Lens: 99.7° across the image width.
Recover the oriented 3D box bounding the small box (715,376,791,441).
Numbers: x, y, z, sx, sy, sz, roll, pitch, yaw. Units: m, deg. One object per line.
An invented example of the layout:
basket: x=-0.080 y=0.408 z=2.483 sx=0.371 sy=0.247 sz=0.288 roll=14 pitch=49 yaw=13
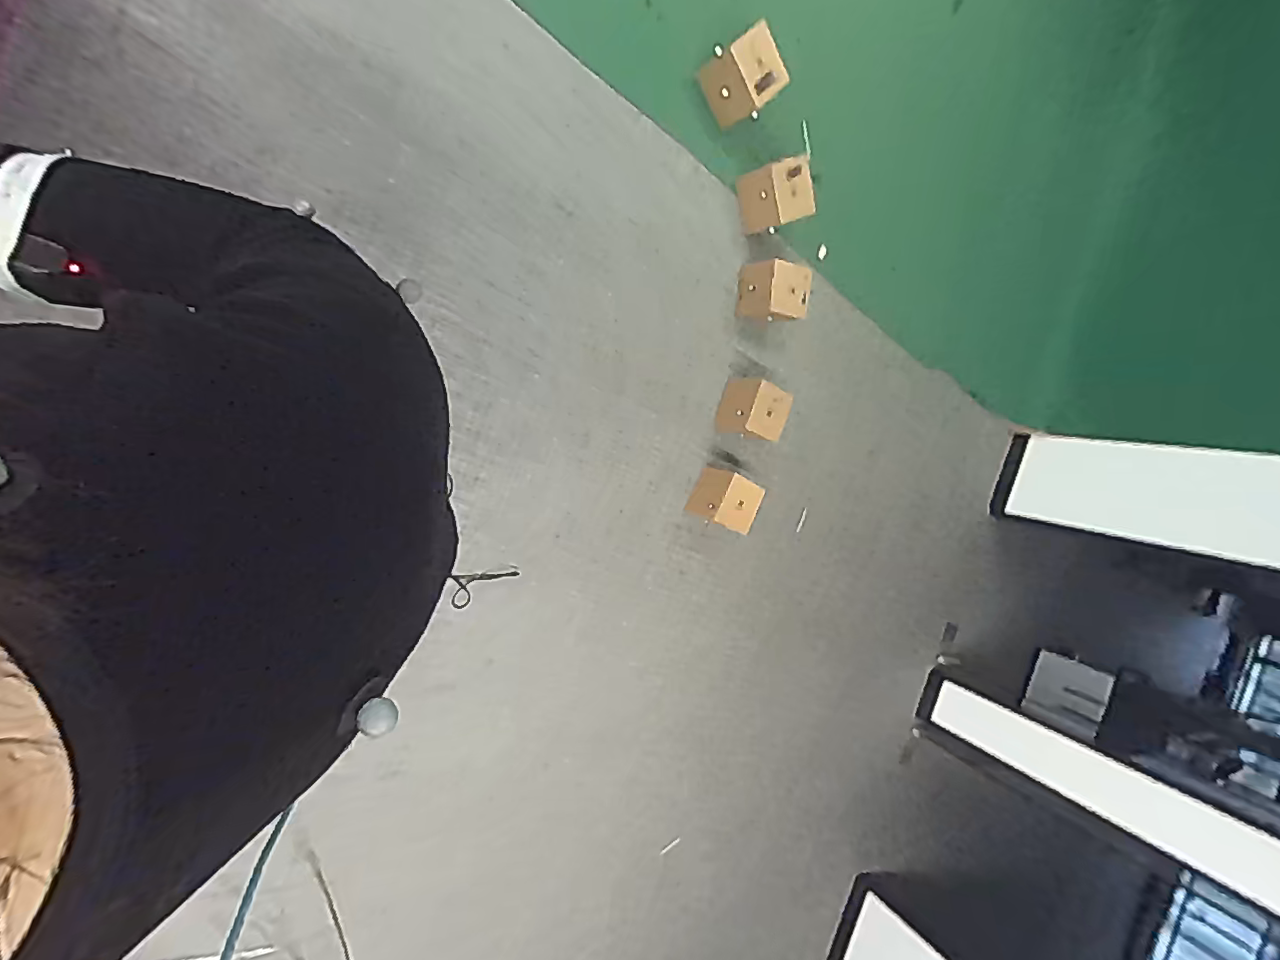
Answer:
small box: x=0.386 y=-0.250 z=1.874 sx=0.168 sy=0.176 sz=0.179 roll=19 pitch=90 yaw=-34

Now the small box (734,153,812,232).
small box: x=0.430 y=-0.934 z=1.762 sx=0.168 sy=0.176 sz=0.179 roll=-29 pitch=114 yaw=-24

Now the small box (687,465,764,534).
small box: x=0.292 y=0.062 z=1.883 sx=0.168 sy=0.176 sz=0.179 roll=26 pitch=86 yaw=-33

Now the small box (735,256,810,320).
small box: x=0.443 y=-0.642 z=1.830 sx=0.179 sy=0.176 sz=0.168 roll=0 pitch=100 yaw=-31
